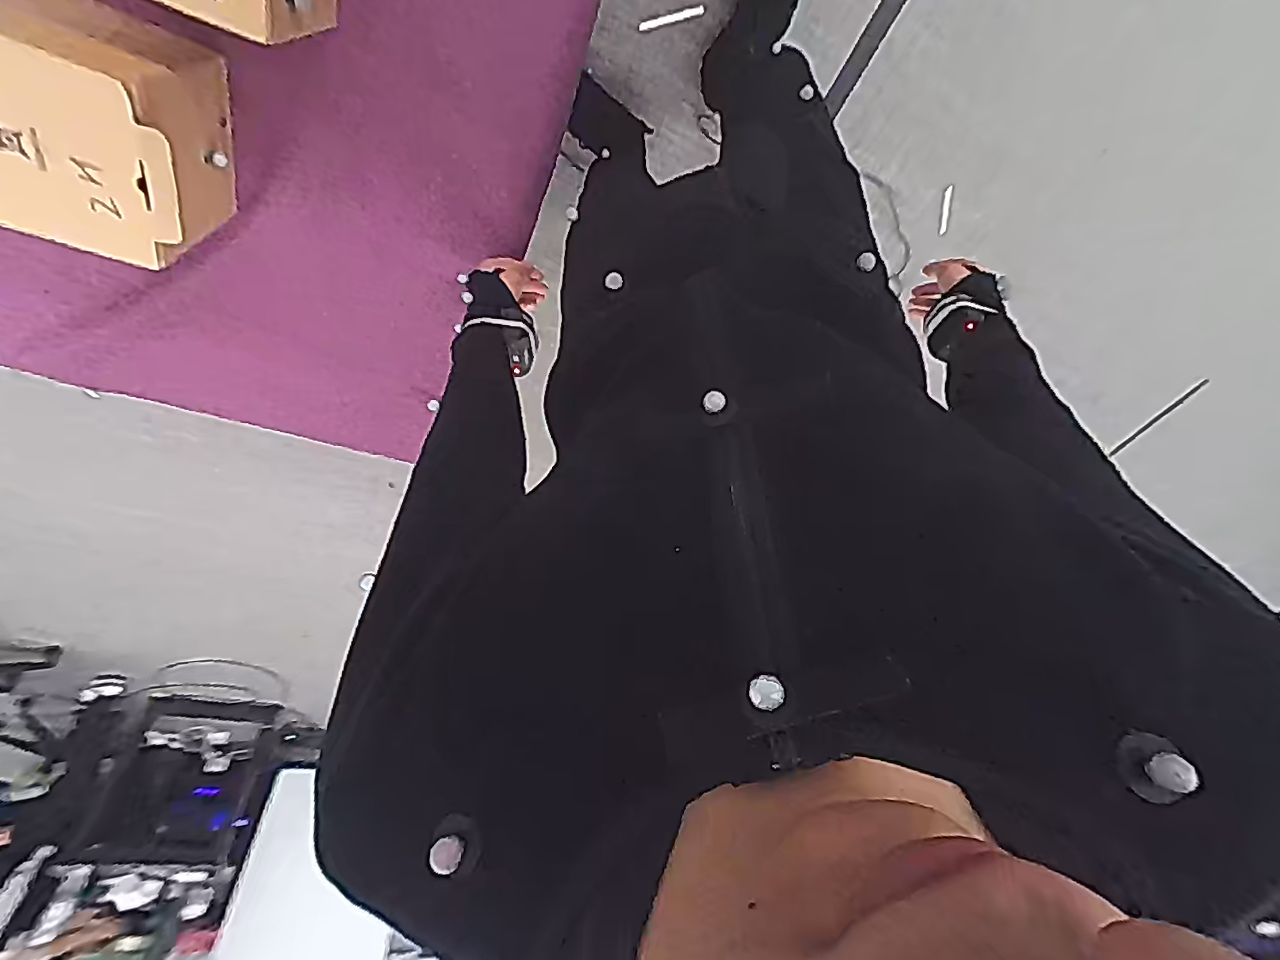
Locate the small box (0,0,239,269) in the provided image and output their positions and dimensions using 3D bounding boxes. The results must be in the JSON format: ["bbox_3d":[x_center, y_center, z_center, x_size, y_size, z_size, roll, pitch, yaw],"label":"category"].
[{"bbox_3d":[-0.522,-0.337,0.515,0.179,0.176,0.168,13,131,-19],"label":"small box"}]
